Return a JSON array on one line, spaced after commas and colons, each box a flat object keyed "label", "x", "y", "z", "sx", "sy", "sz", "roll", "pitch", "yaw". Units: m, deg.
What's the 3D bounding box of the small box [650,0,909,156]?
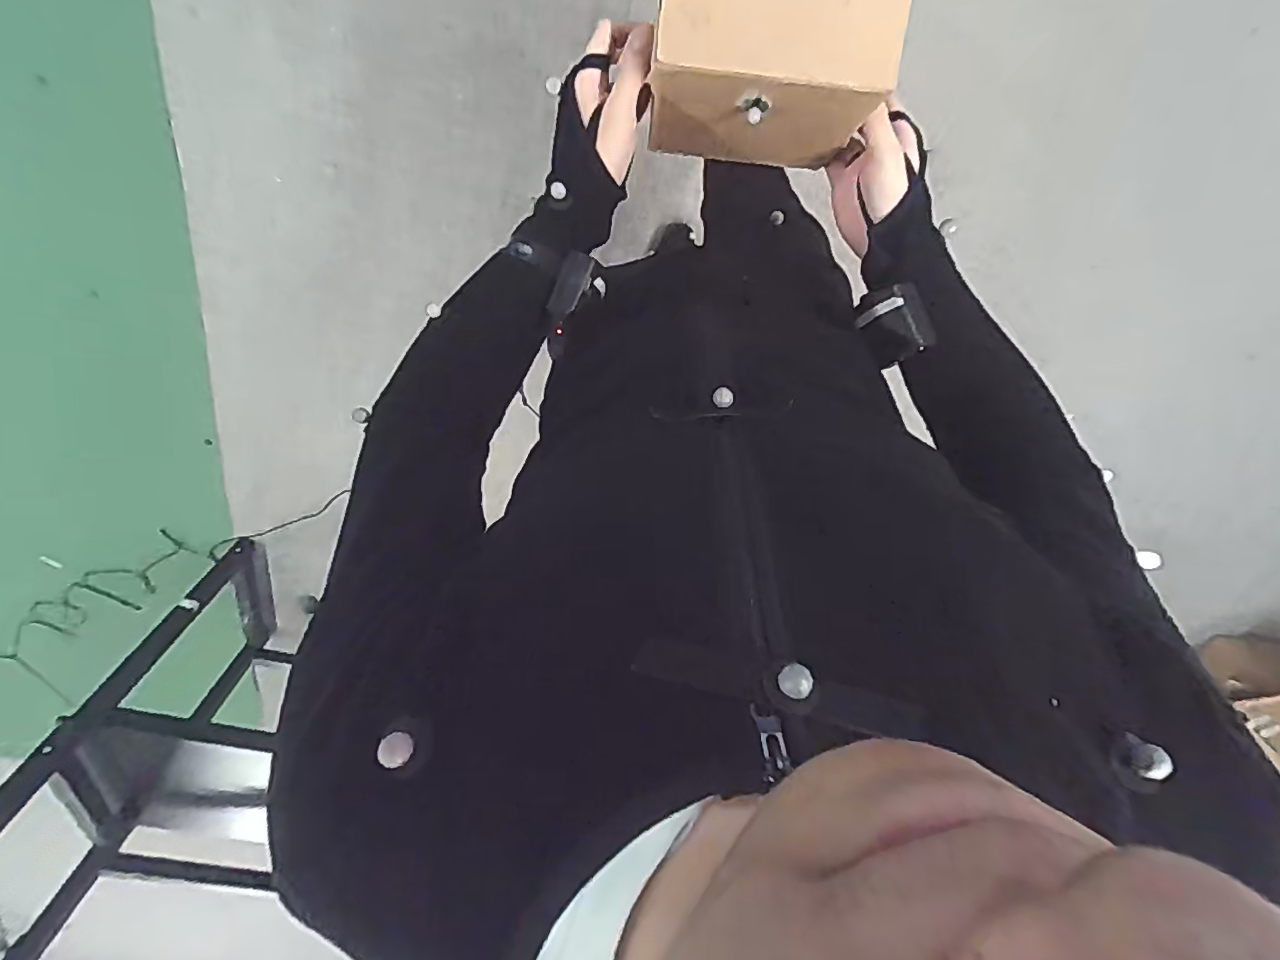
[{"label": "small box", "x": 0.104, "y": -0.388, "z": 0.440, "sx": 0.179, "sy": 0.176, "sz": 0.168, "roll": 6, "pitch": 103, "yaw": 0}]
